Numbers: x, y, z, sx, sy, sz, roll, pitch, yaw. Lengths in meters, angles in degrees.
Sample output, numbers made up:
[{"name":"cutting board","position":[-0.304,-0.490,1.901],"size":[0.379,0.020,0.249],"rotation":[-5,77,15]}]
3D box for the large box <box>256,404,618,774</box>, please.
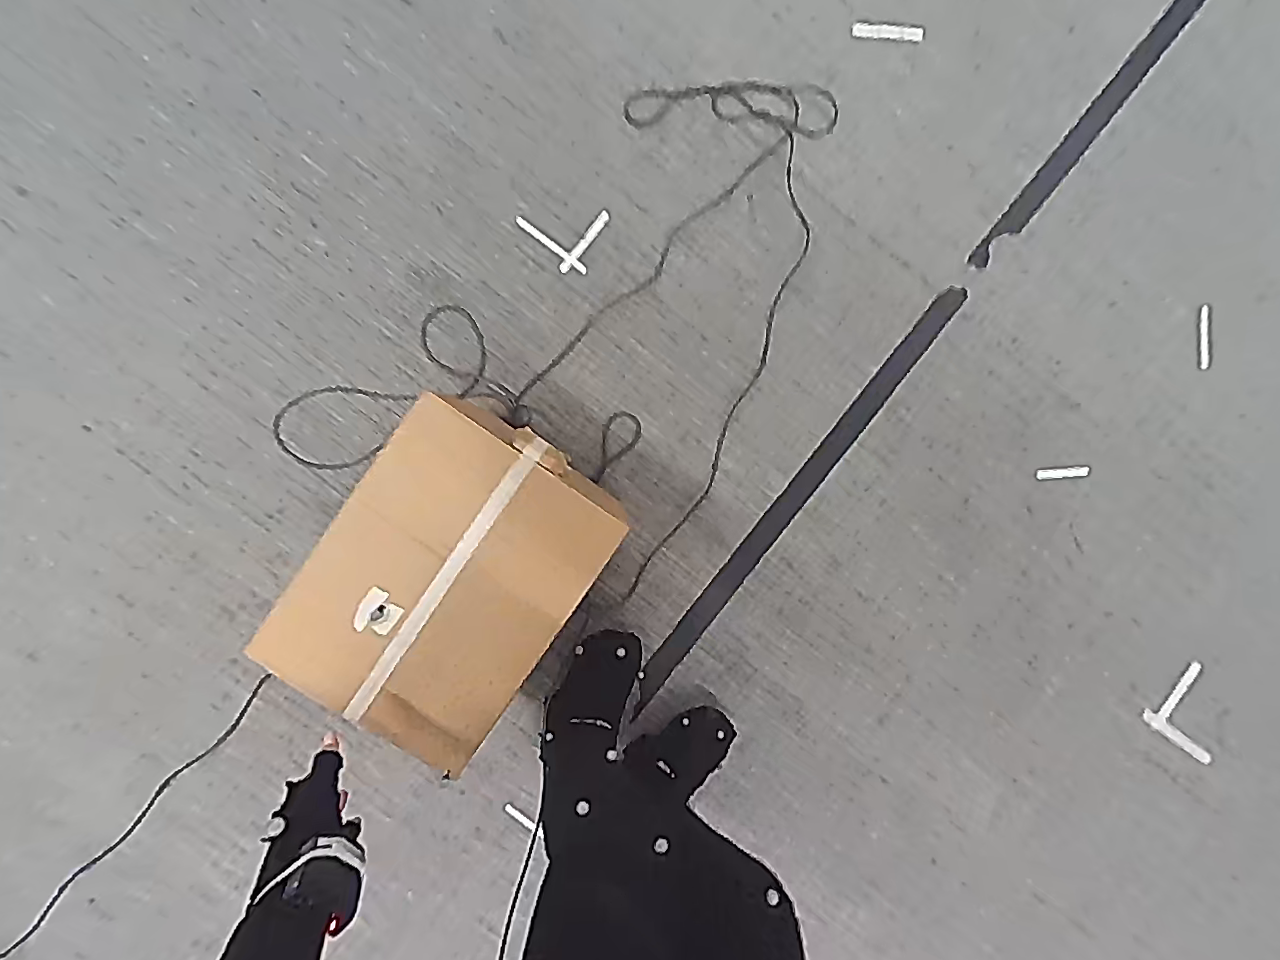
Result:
[{"name":"large box","position":[-0.270,0.136,0.851],"size":[0.320,0.320,0.408],"rotation":[35,91,-4]}]
